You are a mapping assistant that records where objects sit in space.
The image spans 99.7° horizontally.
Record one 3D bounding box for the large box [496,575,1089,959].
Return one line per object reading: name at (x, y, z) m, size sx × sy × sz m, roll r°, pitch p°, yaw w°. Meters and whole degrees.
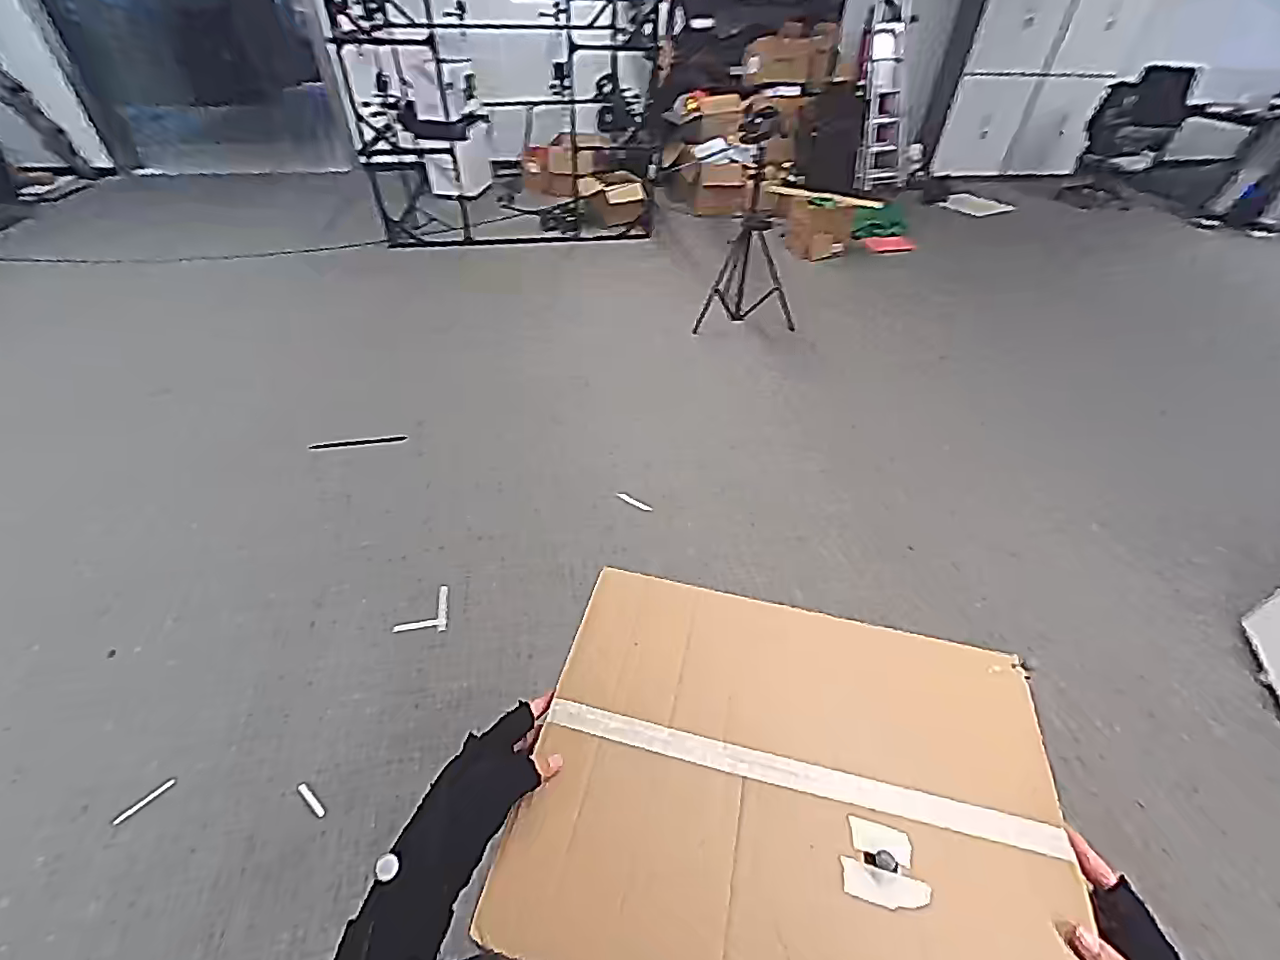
large box at (0.121, 0.343, 0.547) m, size 0.408 × 0.320 × 0.320 m, roll 11°, pitch 46°, yaw 10°
